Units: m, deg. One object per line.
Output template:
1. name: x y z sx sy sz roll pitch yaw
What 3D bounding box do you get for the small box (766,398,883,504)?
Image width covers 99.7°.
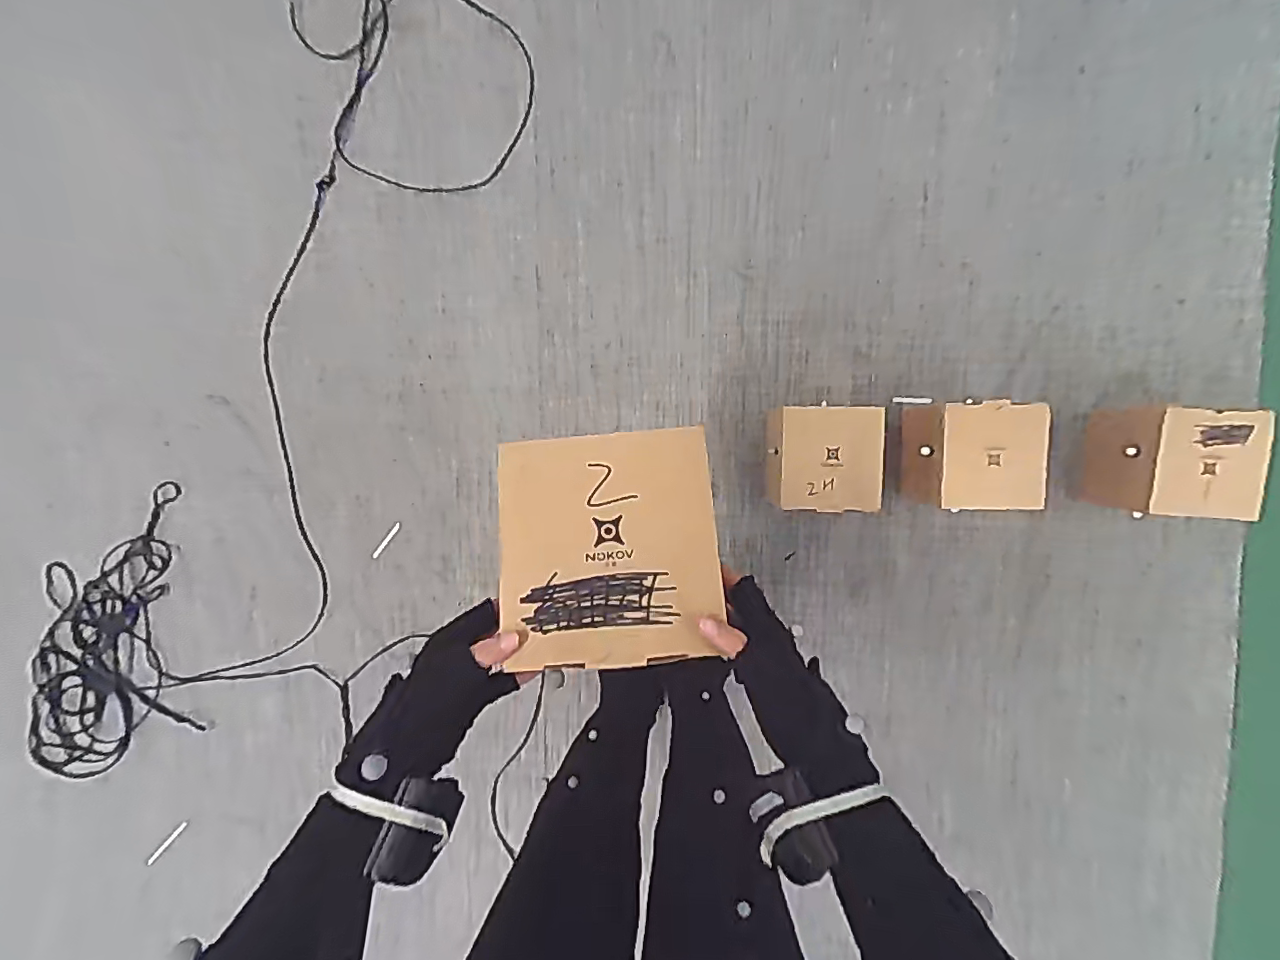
1. small box: 0.322 -0.053 0.977 0.168 0.176 0.179 1 95 5

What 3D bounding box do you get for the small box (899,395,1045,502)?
1. small box: 0.577 -0.057 0.961 0.168 0.176 0.179 -1 94 4

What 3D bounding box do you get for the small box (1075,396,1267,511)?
1. small box: 0.902 -0.048 0.938 0.168 0.176 0.179 4 95 4
